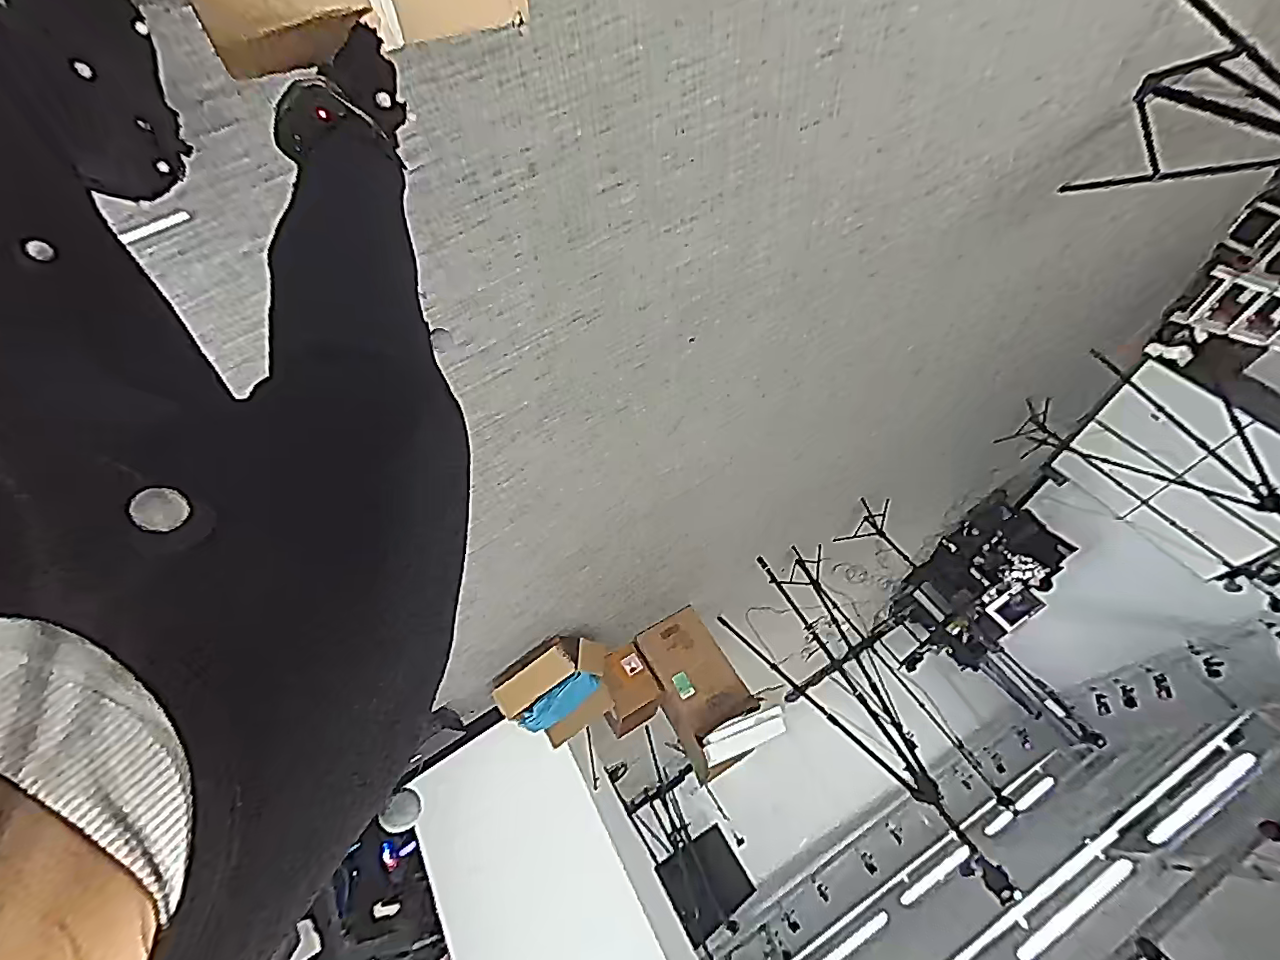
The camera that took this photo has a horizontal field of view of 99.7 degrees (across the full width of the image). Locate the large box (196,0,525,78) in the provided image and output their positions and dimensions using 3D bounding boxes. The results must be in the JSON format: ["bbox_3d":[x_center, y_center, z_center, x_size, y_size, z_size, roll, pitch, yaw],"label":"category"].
[{"bbox_3d":[-0.344,-0.673,0.481,0.320,0.320,0.408,-27,148,-17],"label":"large box"}]
